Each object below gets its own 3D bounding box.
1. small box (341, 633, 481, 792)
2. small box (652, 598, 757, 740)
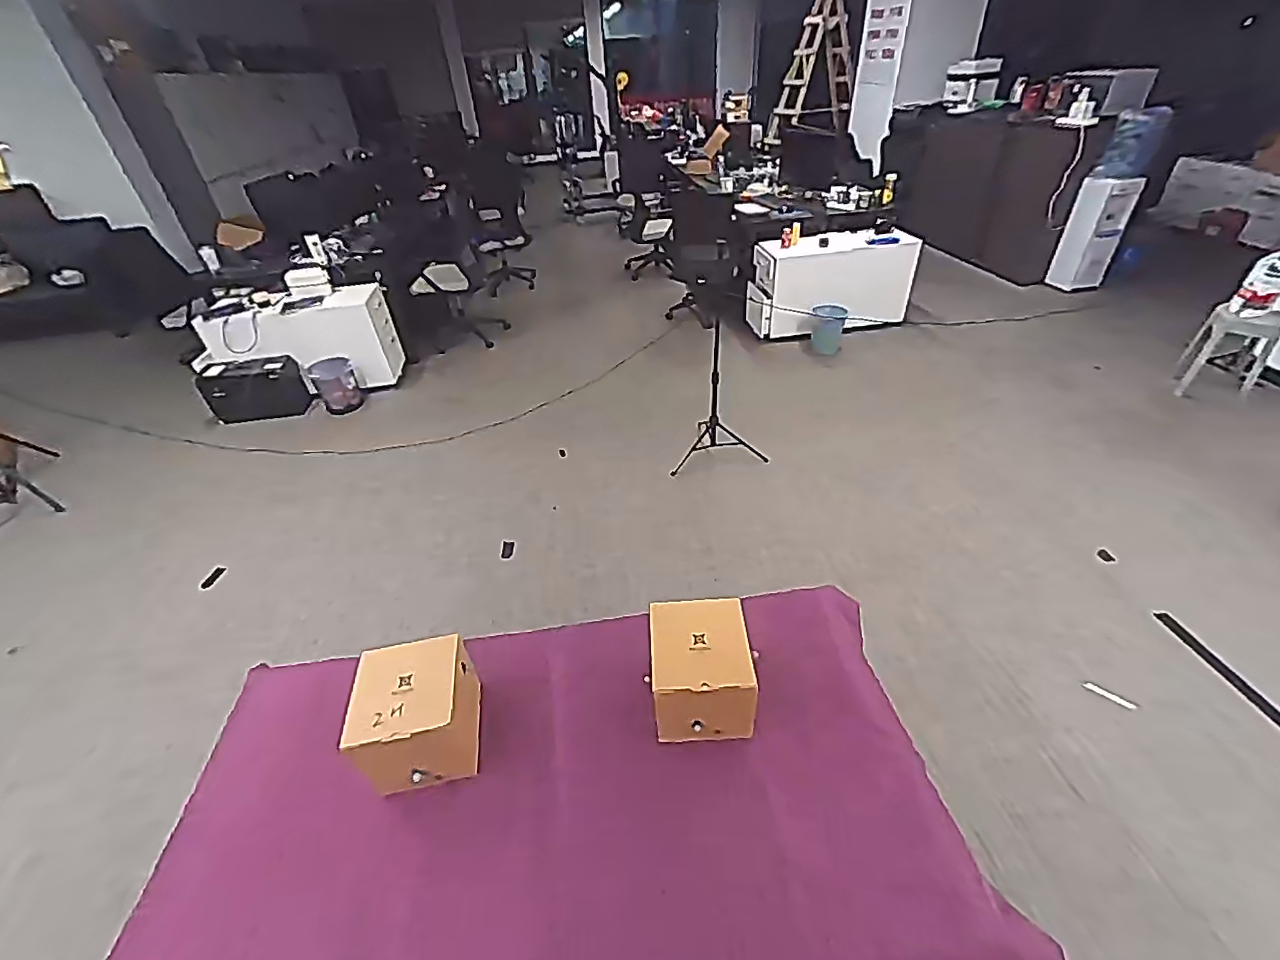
[{"bbox_3d":[-0.377,0.395,0.927,0.168,0.176,0.179,-9,38,-6],"label":"small box"},{"bbox_3d":[0.106,0.334,0.960,0.168,0.176,0.179,-4,39,1],"label":"small box"}]
